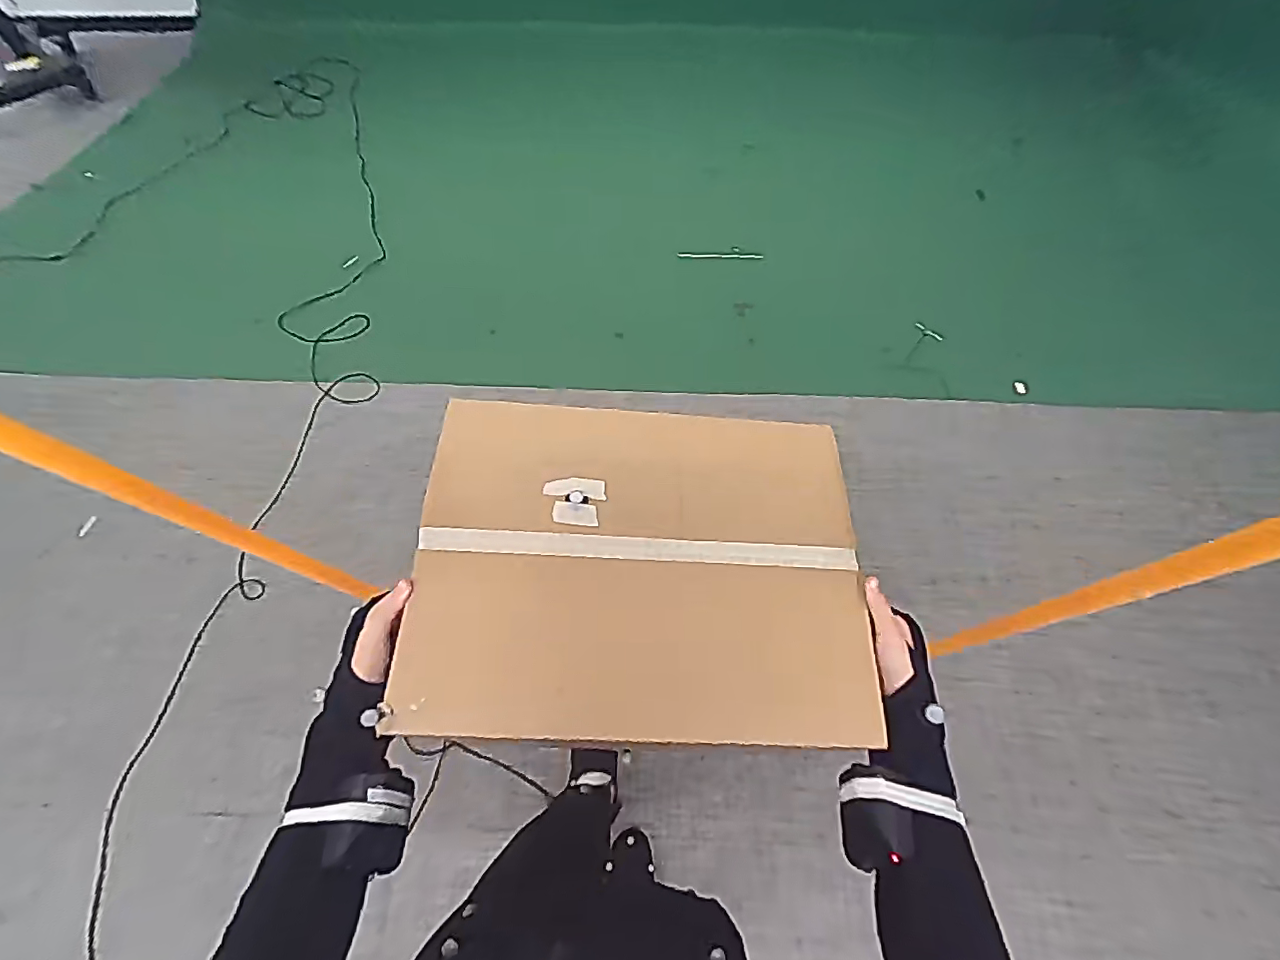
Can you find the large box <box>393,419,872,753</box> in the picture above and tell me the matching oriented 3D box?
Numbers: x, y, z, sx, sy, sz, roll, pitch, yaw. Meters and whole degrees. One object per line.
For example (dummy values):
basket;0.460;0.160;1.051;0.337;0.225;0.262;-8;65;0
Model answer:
large box;-0.008;0.147;0.642;0.408;0.320;0.320;3;62;-3
